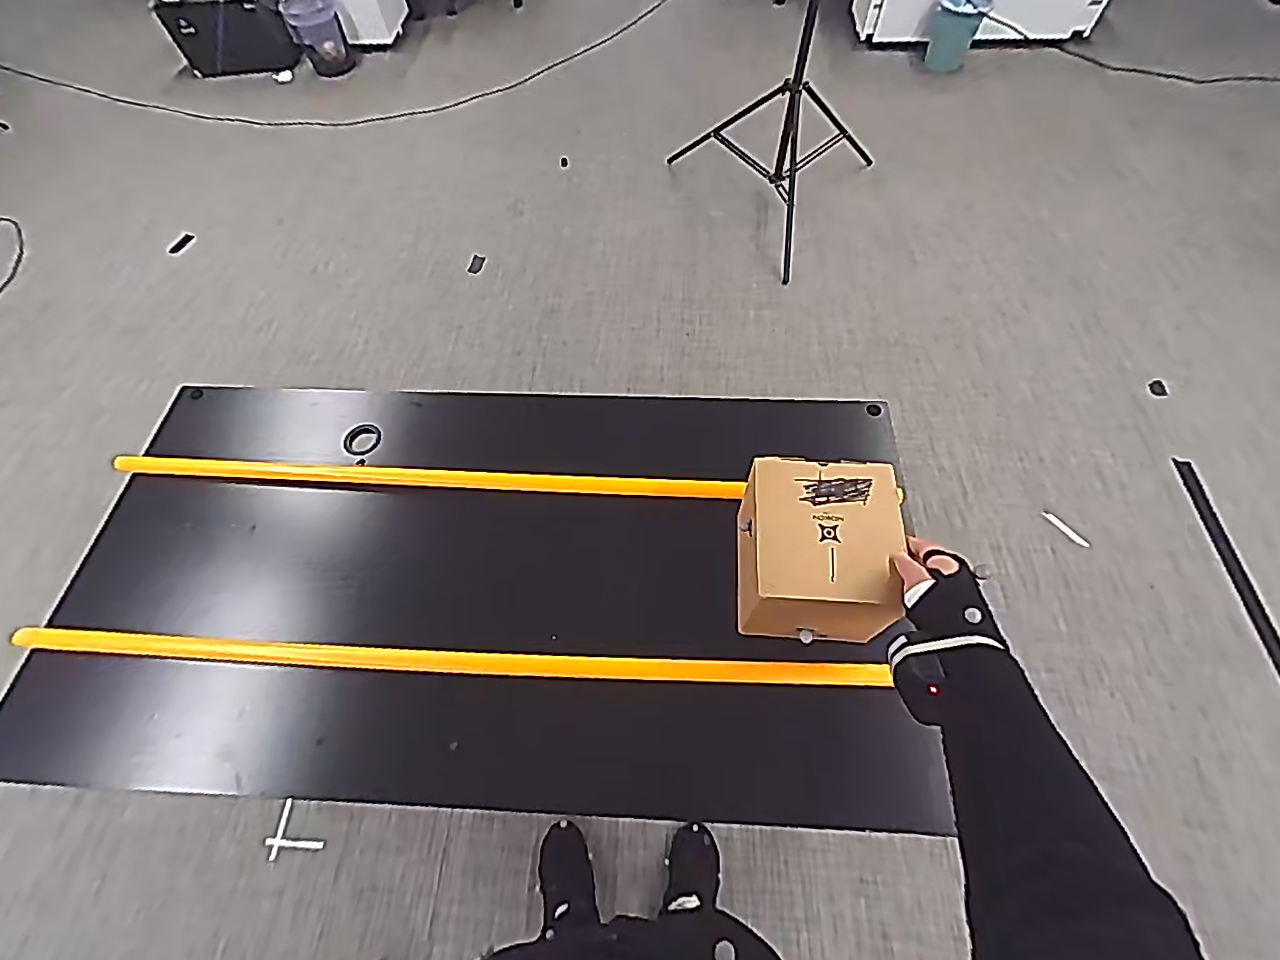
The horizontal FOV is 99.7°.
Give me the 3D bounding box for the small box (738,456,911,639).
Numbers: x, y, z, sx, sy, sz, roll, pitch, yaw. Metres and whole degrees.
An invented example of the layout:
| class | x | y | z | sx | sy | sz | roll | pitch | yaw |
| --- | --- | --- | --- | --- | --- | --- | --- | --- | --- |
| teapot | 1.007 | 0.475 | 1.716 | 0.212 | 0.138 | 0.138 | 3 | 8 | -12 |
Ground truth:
| class | x | y | z | sx | sy | sz | roll | pitch | yaw |
| --- | --- | --- | --- | --- | --- | --- | --- | --- | --- |
| small box | 0.216 | 0.089 | 0.687 | 0.168 | 0.176 | 0.179 | 3 | 61 | 4 |
